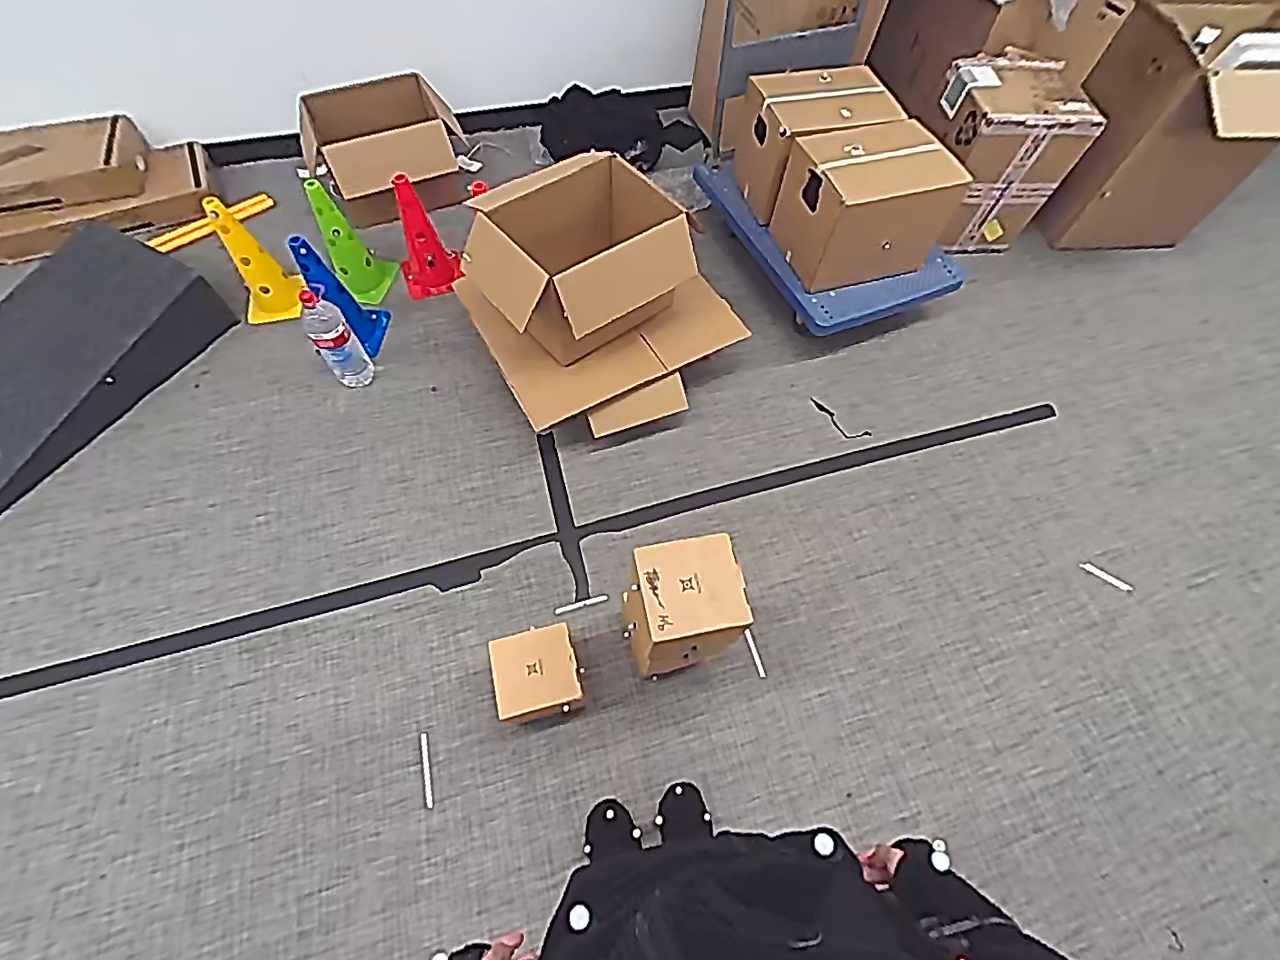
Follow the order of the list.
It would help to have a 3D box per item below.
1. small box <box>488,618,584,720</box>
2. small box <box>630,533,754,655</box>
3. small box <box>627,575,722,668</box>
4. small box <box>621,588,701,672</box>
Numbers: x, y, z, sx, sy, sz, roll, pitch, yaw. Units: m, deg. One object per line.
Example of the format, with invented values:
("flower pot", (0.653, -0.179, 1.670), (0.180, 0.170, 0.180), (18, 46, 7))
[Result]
("small box", (-0.229, 0.432, 1.221), (0.179, 0.176, 0.168), (-13, 64, -10))
("small box", (0.084, 0.211, 0.982), (0.179, 0.176, 0.168), (-8, 64, -9))
("small box", (0.074, 0.283, 1.129), (0.179, 0.176, 0.168), (-11, 65, -10))
("small box", (0.056, 0.344, 1.281), (0.168, 0.176, 0.179), (-13, 64, -11))
